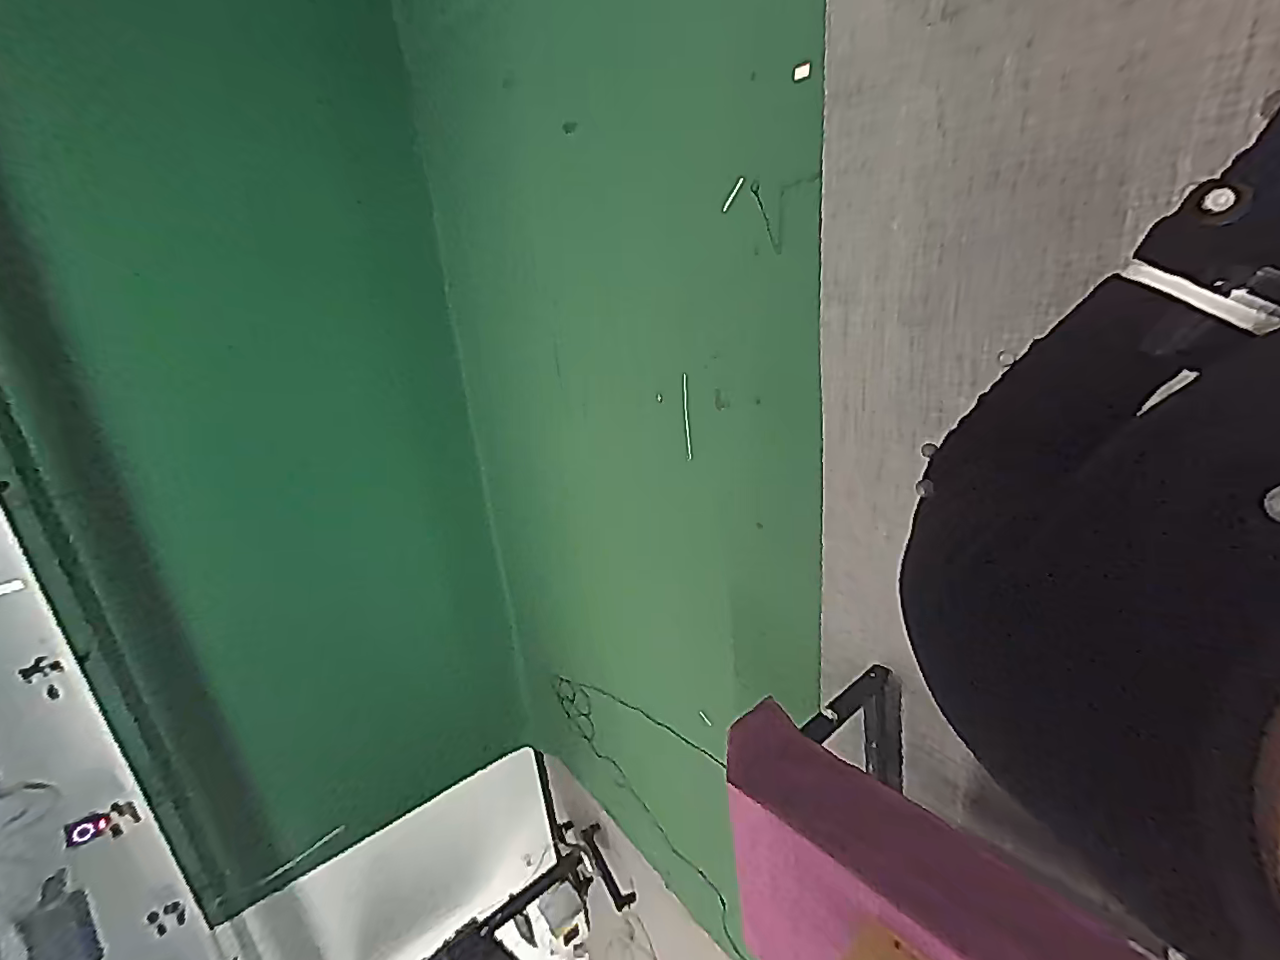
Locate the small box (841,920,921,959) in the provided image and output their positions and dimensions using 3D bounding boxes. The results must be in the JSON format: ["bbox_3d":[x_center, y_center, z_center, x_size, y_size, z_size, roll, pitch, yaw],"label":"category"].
[{"bbox_3d":[0.483,1.029,1.056,0.168,0.176,0.179,15,117,51],"label":"small box"}]
